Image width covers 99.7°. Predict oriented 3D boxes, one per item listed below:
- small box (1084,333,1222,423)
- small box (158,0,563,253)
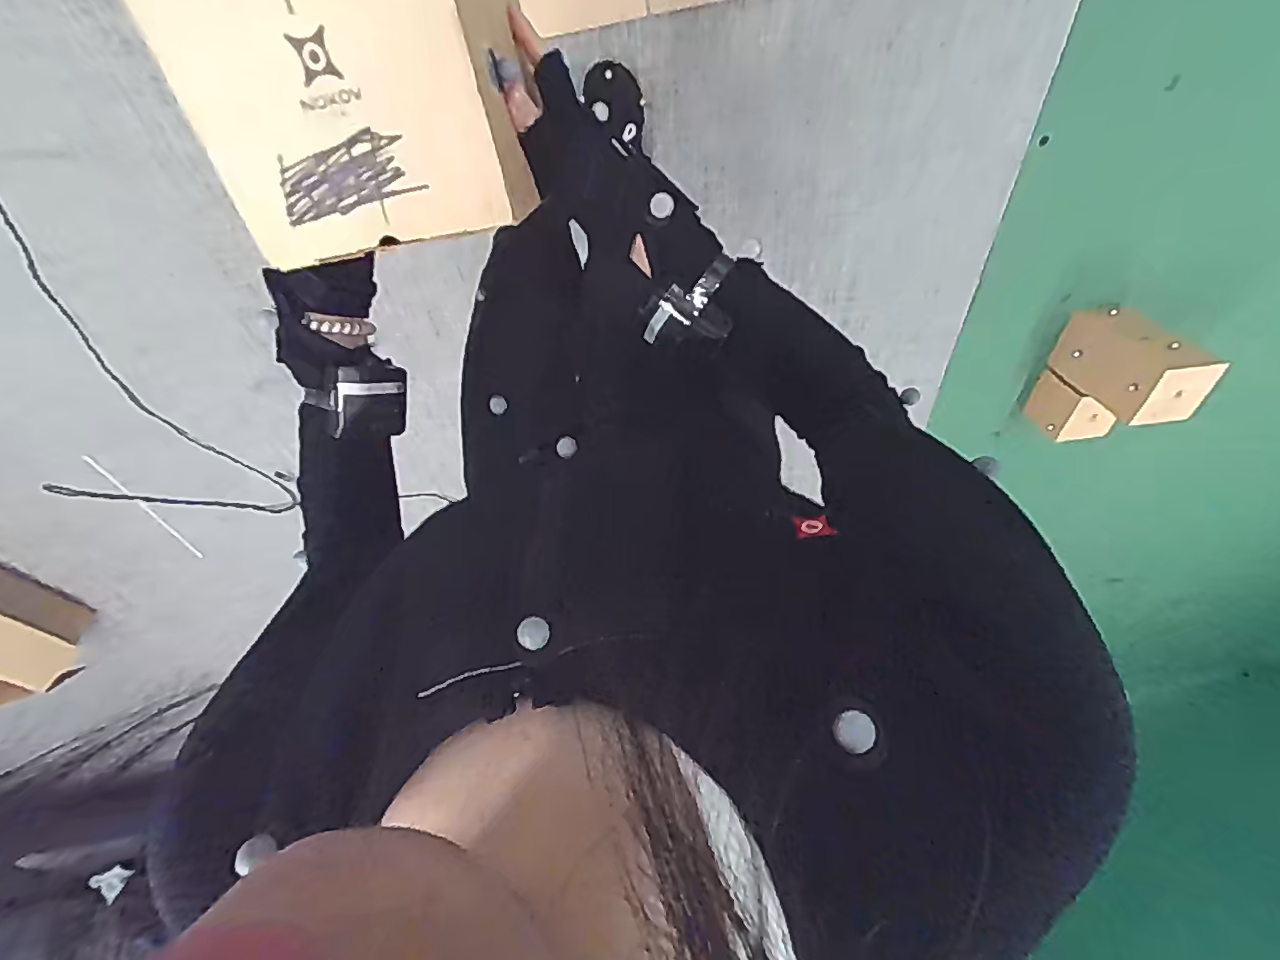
[{"bbox_3d":[1.345,-0.277,1.438,0.168,0.176,0.179,-7,135,-2],"label":"small box"},{"bbox_3d":[-0.158,-0.271,0.357,0.168,0.176,0.179,-6,124,8],"label":"small box"}]
